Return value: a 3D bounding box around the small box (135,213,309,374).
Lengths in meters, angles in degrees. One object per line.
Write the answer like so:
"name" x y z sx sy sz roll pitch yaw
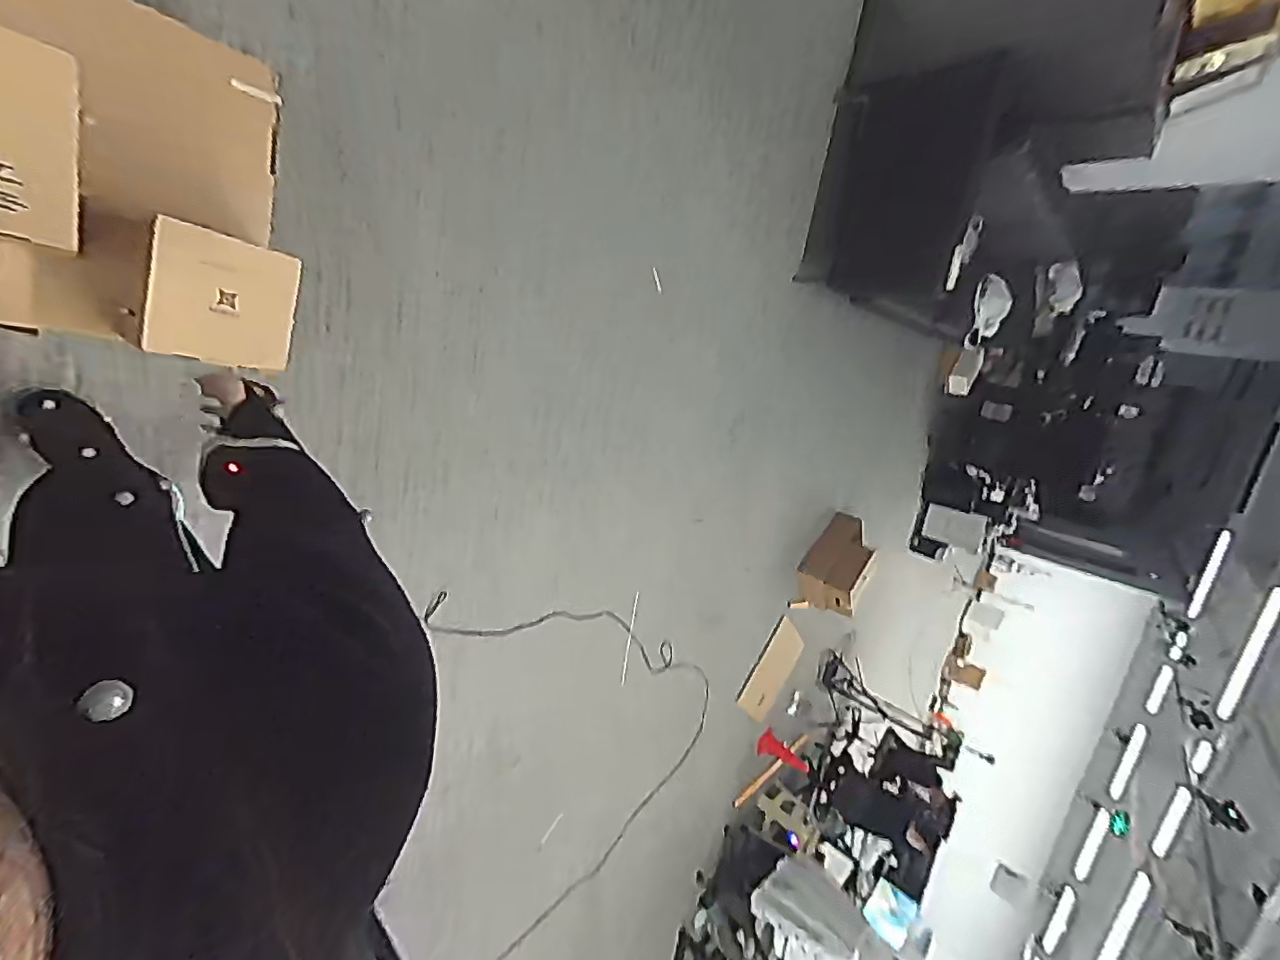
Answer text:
"small box" -0.622 -0.269 0.802 0.168 0.176 0.179 4 101 -50

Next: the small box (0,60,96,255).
"small box" -0.751 -0.374 0.616 0.168 0.176 0.179 5 100 -48
